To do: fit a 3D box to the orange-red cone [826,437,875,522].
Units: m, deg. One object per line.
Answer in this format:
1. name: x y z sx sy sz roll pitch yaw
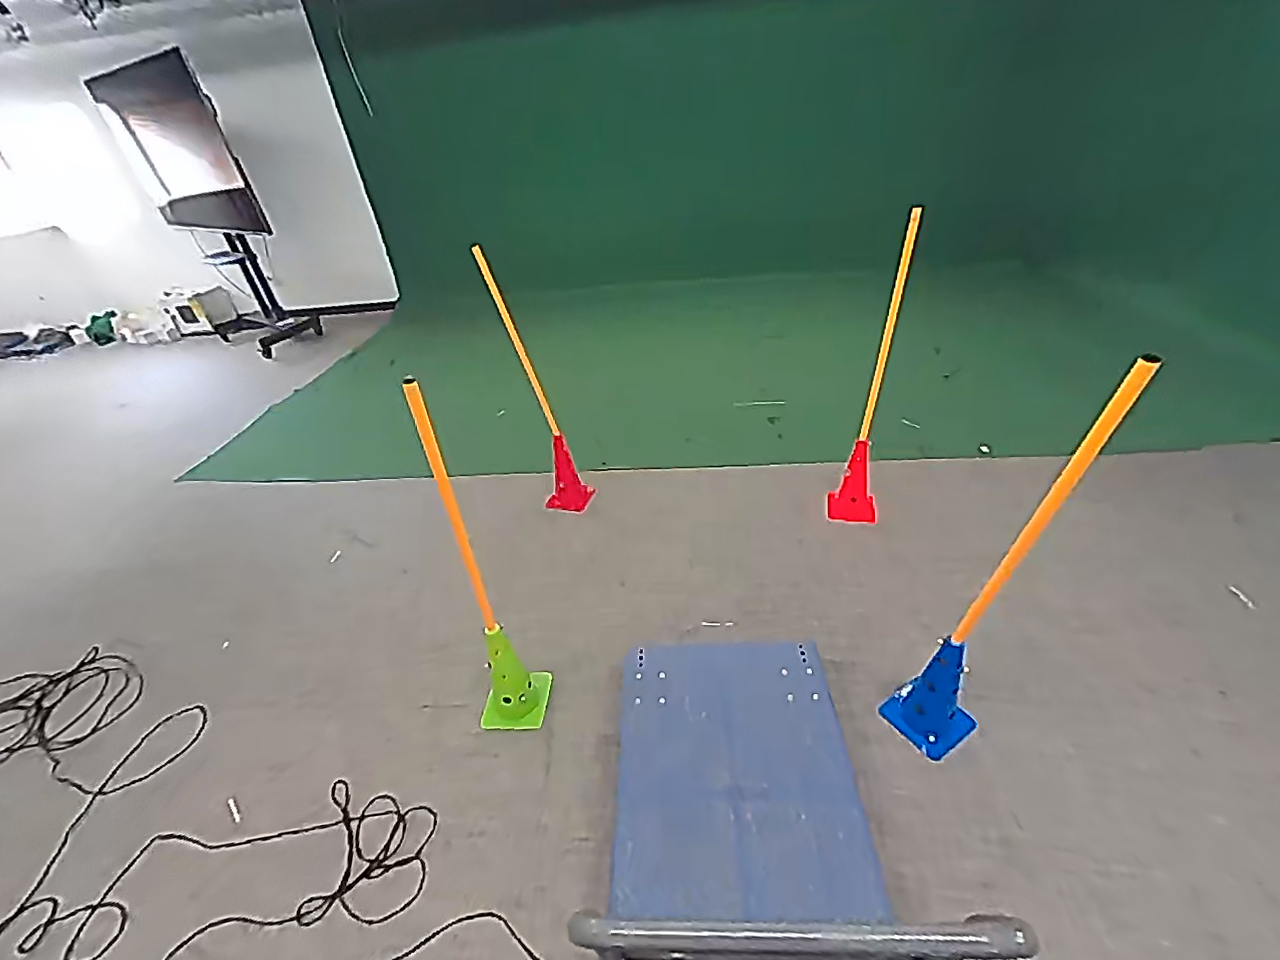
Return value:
1. orange-red cone: 0.907 -0.021 2.281 0.198 0.360 0.199 5 37 16
